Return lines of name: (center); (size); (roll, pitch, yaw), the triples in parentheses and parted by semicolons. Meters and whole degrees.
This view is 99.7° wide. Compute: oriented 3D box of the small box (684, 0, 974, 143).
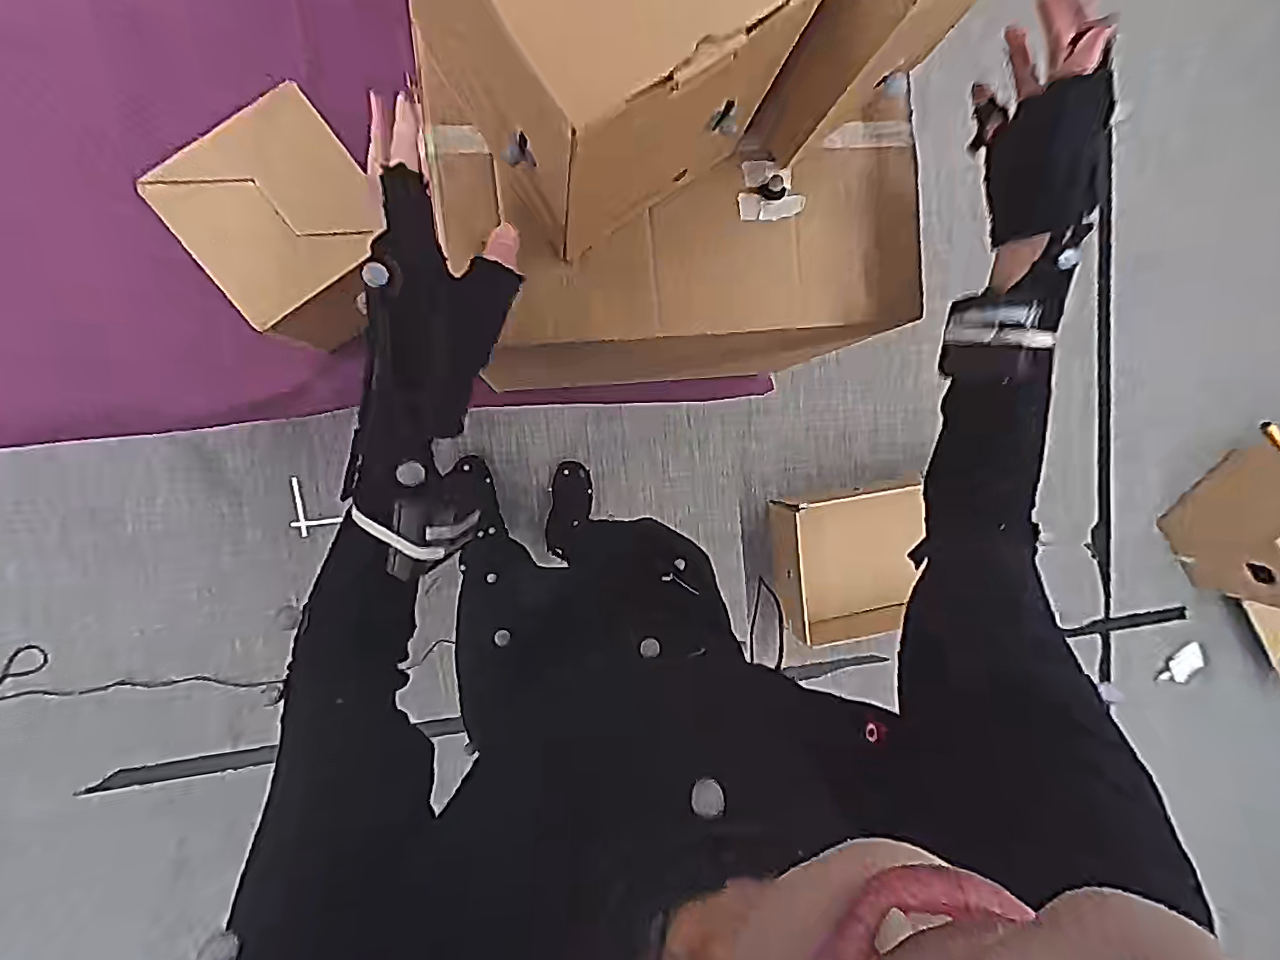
small box: (0.135, -0.372, 0.345); (0.168, 0.176, 0.179); (-38, 95, -6)

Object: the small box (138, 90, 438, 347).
small box: (-0.356, -0.268, 0.582); (0.179, 0.176, 0.168); (-37, 99, -4)

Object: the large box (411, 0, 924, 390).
large box: (0.013, -0.284, 0.577); (0.408, 0.320, 0.320); (-6, 94, -9)
